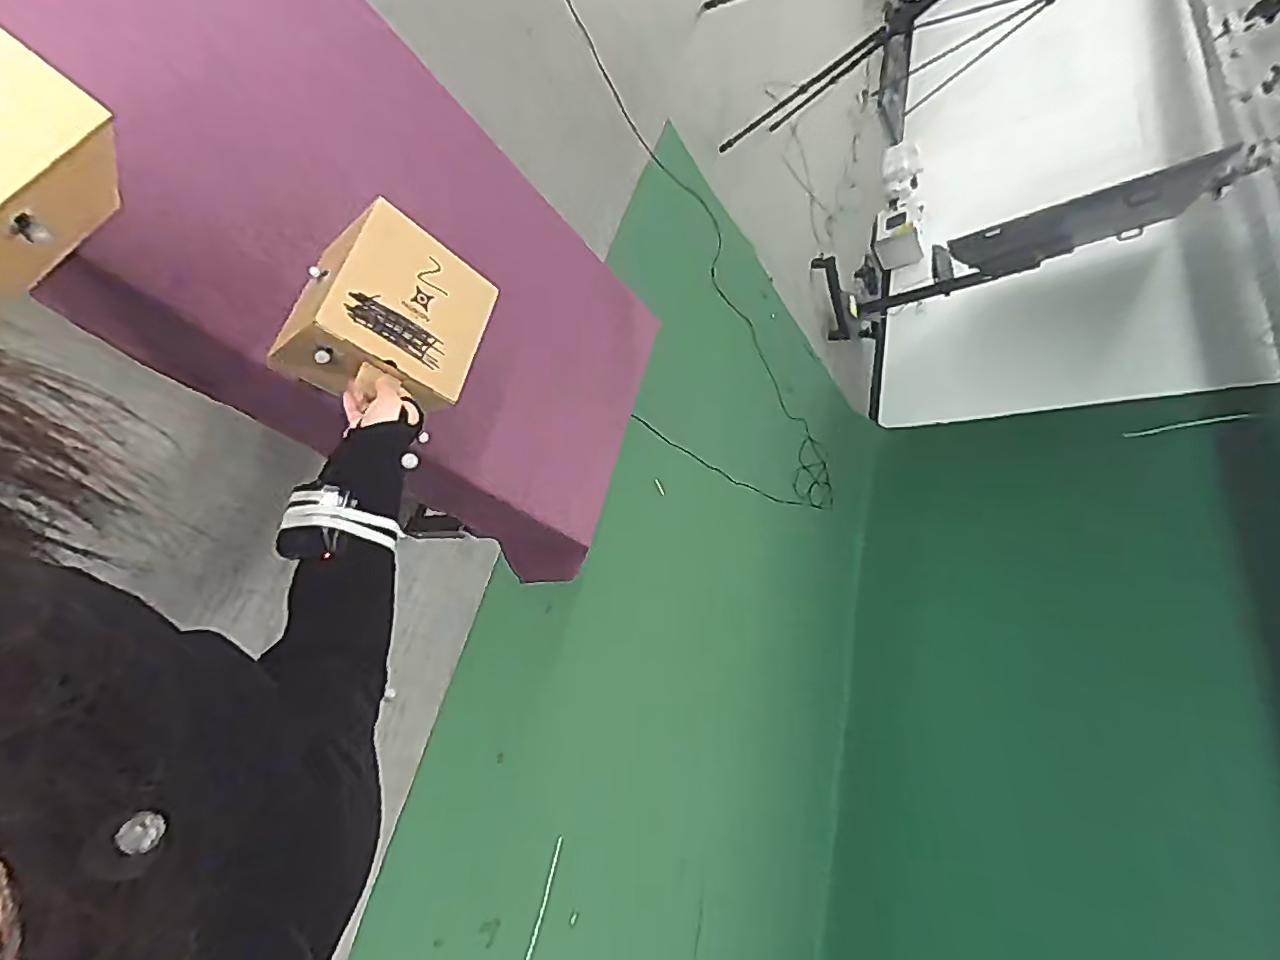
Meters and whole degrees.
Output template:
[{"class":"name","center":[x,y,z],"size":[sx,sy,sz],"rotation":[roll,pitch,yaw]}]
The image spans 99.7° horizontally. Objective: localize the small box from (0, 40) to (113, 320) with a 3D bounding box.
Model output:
[{"class":"small box","center":[-0.528,-0.233,0.383],"size":[0.168,0.176,0.179],"rotation":[38,67,-35]}]
